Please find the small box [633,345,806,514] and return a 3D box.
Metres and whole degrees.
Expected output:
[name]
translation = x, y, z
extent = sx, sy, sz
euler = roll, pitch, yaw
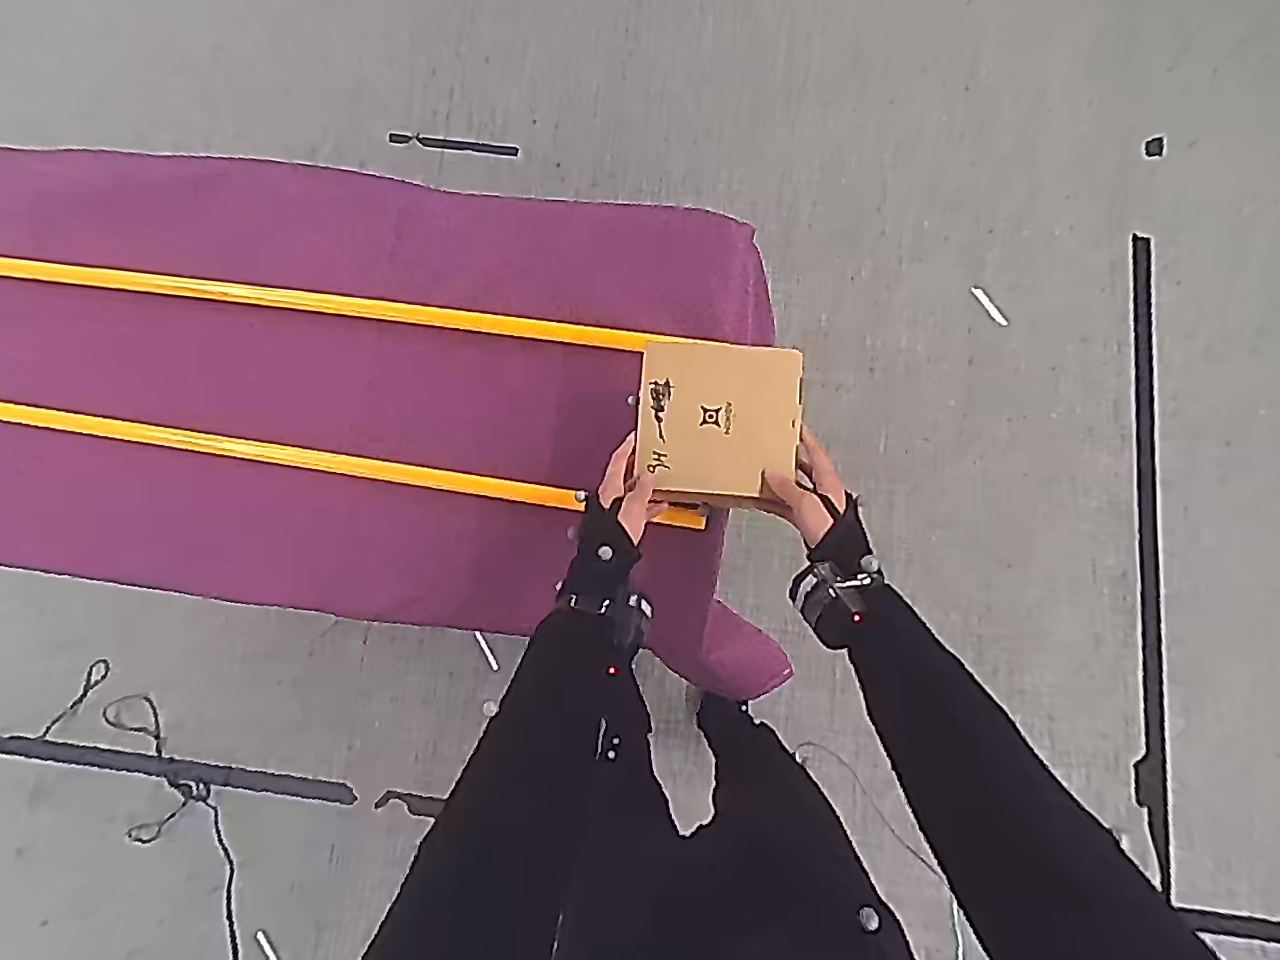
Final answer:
[small box]
translation = 0.087, -0.049, 0.655
extent = 0.179, 0.176, 0.168
euler = 5, 83, 2
